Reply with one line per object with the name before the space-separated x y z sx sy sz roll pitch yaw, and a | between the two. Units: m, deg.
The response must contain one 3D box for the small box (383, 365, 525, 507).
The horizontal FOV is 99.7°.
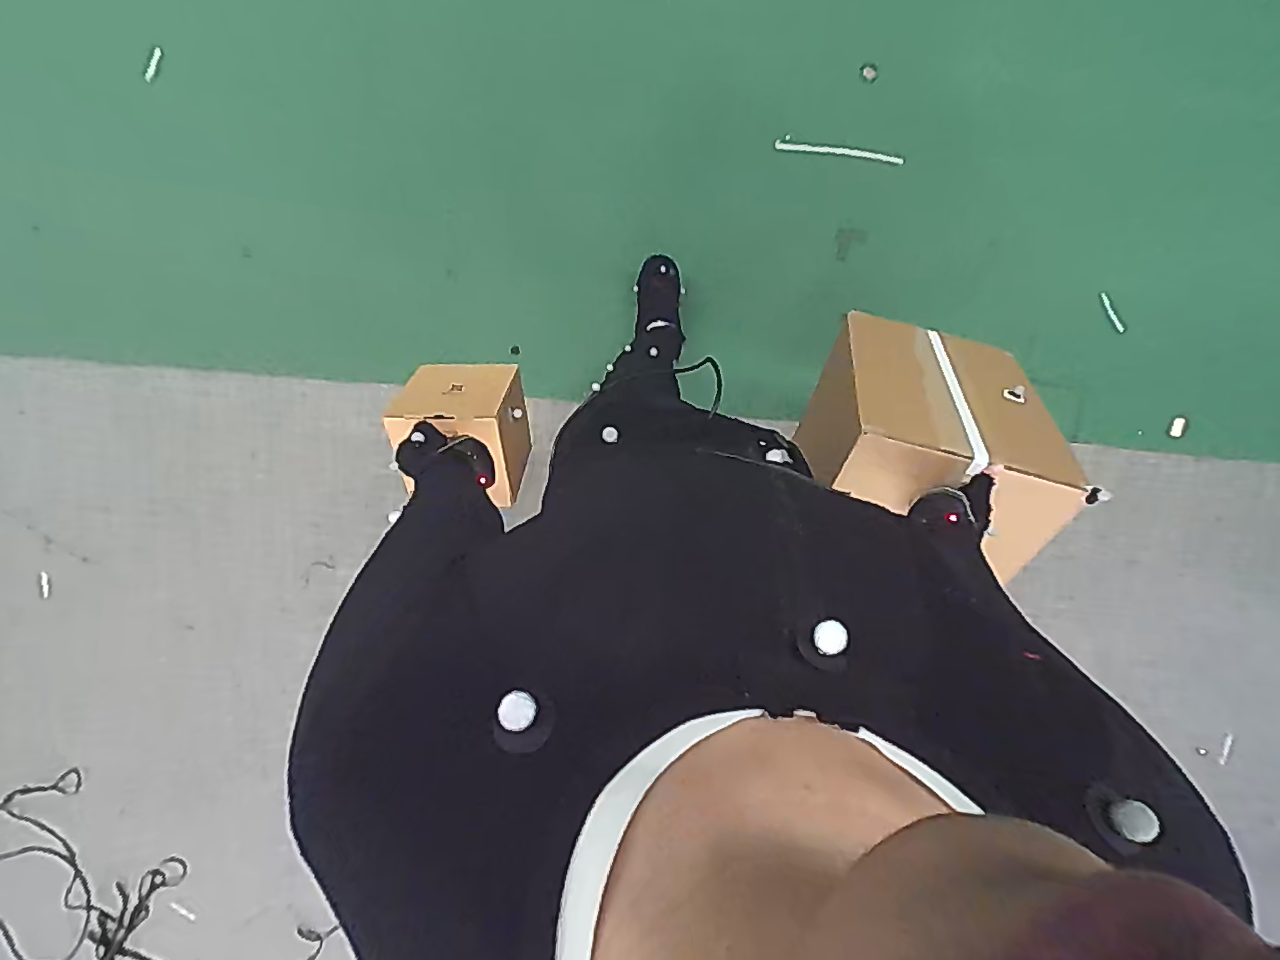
small box | -0.289 -0.075 0.890 0.168 0.179 0.176 0 128 1
